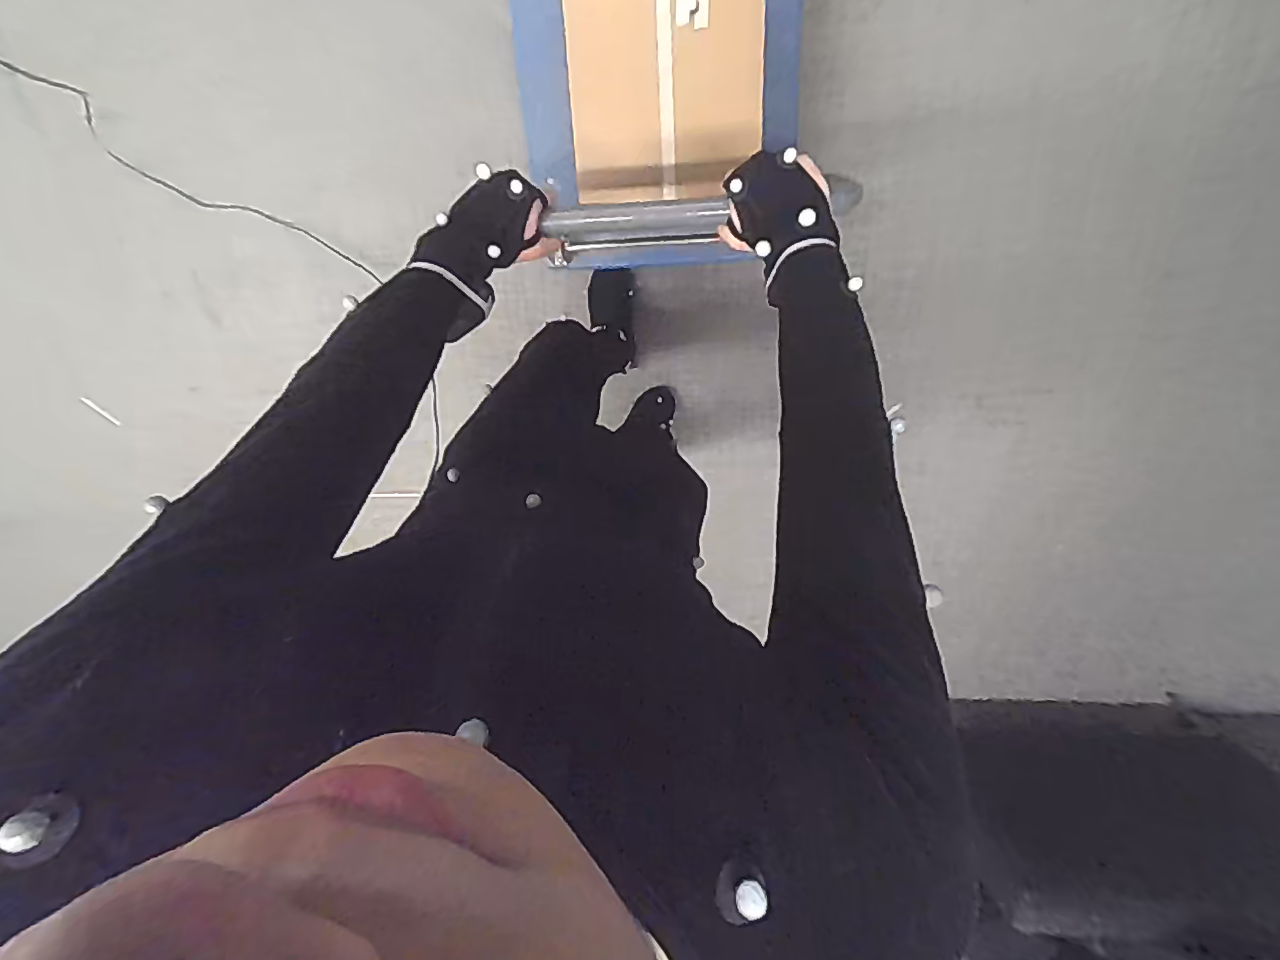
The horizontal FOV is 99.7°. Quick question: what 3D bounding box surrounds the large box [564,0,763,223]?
[{"bbox_3d":[0.051,-0.719,1.001,0.320,0.320,0.408,-1,111,5],"label":"large box"}]
